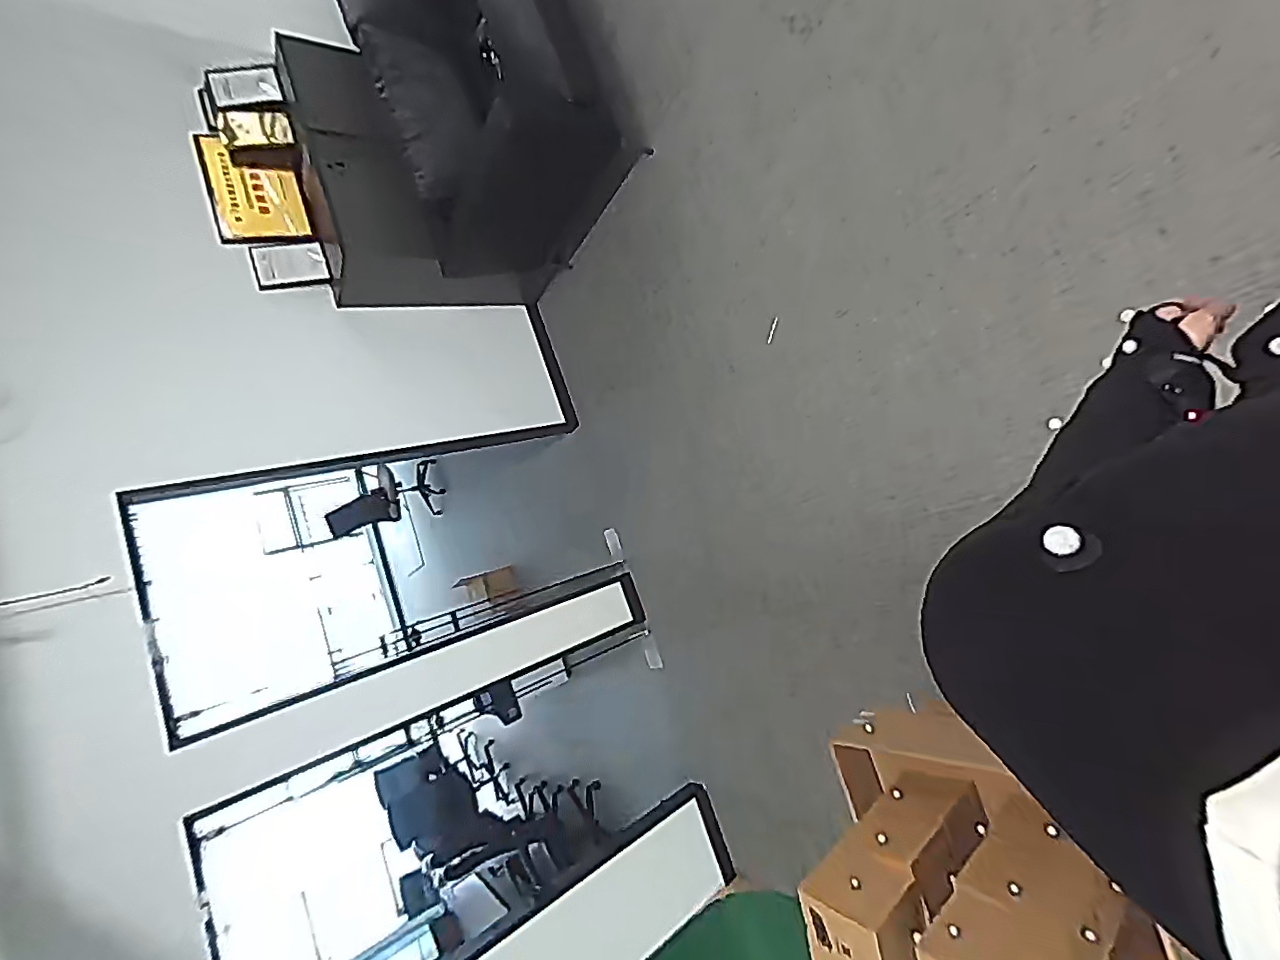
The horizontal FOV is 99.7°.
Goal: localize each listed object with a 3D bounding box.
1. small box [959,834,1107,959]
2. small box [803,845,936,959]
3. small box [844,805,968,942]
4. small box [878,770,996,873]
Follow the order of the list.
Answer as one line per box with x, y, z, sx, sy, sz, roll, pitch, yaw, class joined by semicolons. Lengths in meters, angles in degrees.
0.731;0.804;1.002;0.179;0.176;0.168;-8;94;55;small box
0.469;0.894;1.105;0.179;0.176;0.168;-12;92;51;small box
0.596;0.858;1.203;0.179;0.176;0.168;-27;79;51;small box
0.719;0.827;1.304;0.179;0.176;0.168;-27;81;51;small box
